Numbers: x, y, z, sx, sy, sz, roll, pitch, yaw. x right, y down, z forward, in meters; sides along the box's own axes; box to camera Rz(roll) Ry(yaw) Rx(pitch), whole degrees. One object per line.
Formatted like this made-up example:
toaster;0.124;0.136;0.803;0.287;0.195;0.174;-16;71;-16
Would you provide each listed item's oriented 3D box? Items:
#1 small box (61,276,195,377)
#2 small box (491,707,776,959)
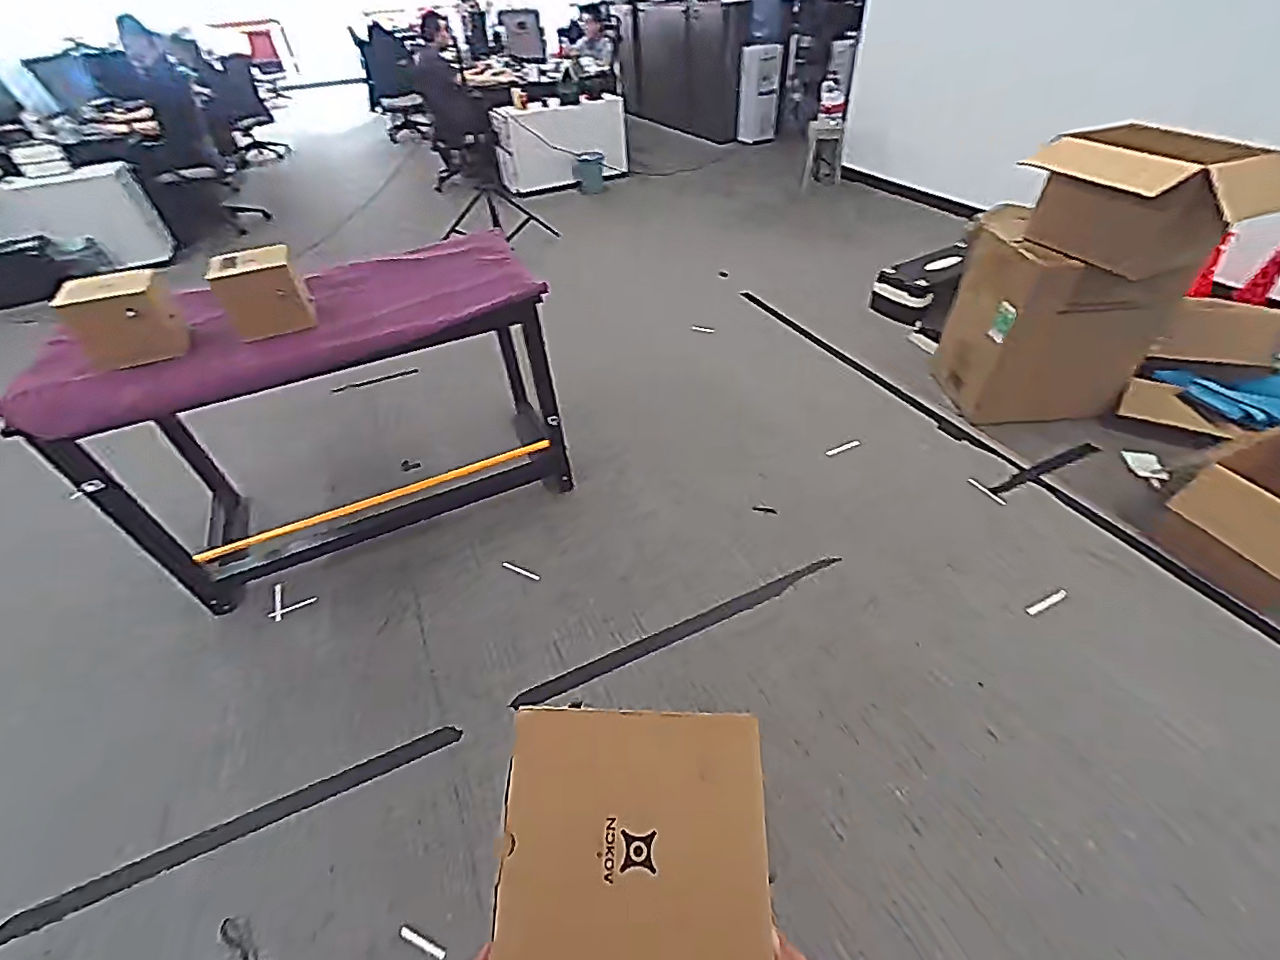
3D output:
small box;-1.241;-0.378;1.330;0.179;0.176;0.168;-20;44;-20
small box;0.001;0.271;0.425;0.179;0.176;0.168;-1;65;4
